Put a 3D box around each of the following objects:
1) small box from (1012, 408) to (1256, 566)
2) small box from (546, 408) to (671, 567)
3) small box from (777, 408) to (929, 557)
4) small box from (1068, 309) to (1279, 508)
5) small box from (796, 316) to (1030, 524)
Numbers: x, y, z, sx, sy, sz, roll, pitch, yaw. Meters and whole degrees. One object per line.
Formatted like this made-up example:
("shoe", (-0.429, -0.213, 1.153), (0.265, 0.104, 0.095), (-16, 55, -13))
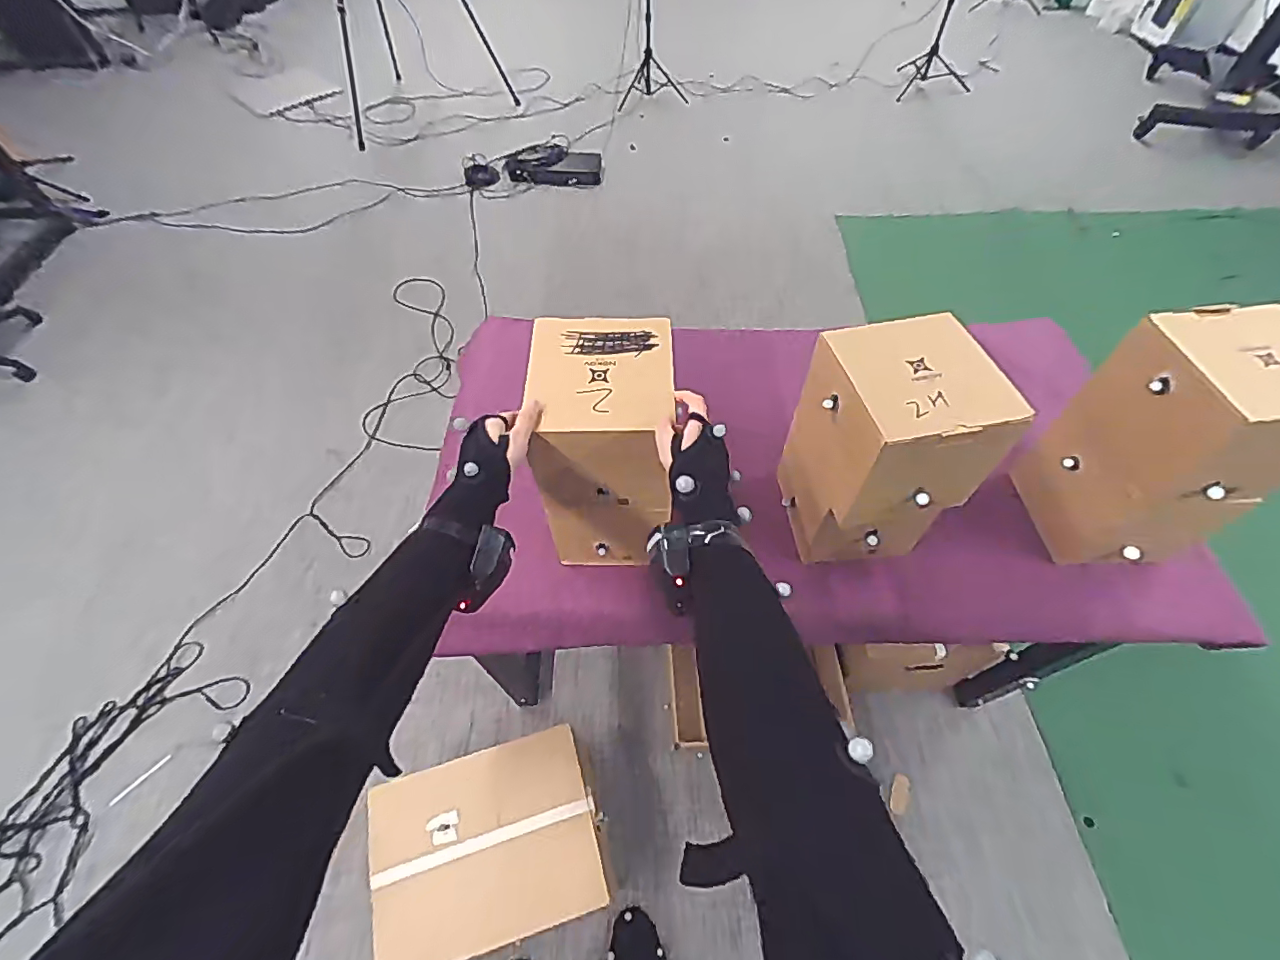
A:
("small box", (0.698, 0.011, 0.797), (0.168, 0.176, 0.179), (-1, 54, 1))
("small box", (-0.039, 0.013, 0.812), (0.168, 0.176, 0.179), (1, 56, 1))
("small box", (0.316, 0.006, 0.809), (0.168, 0.176, 0.179), (-4, 55, -2))
("small box", (0.689, -0.085, 0.666), (0.168, 0.176, 0.179), (-4, 54, 0))
("small box", (0.308, -0.071, 0.660), (0.168, 0.176, 0.179), (-10, 55, -5))
